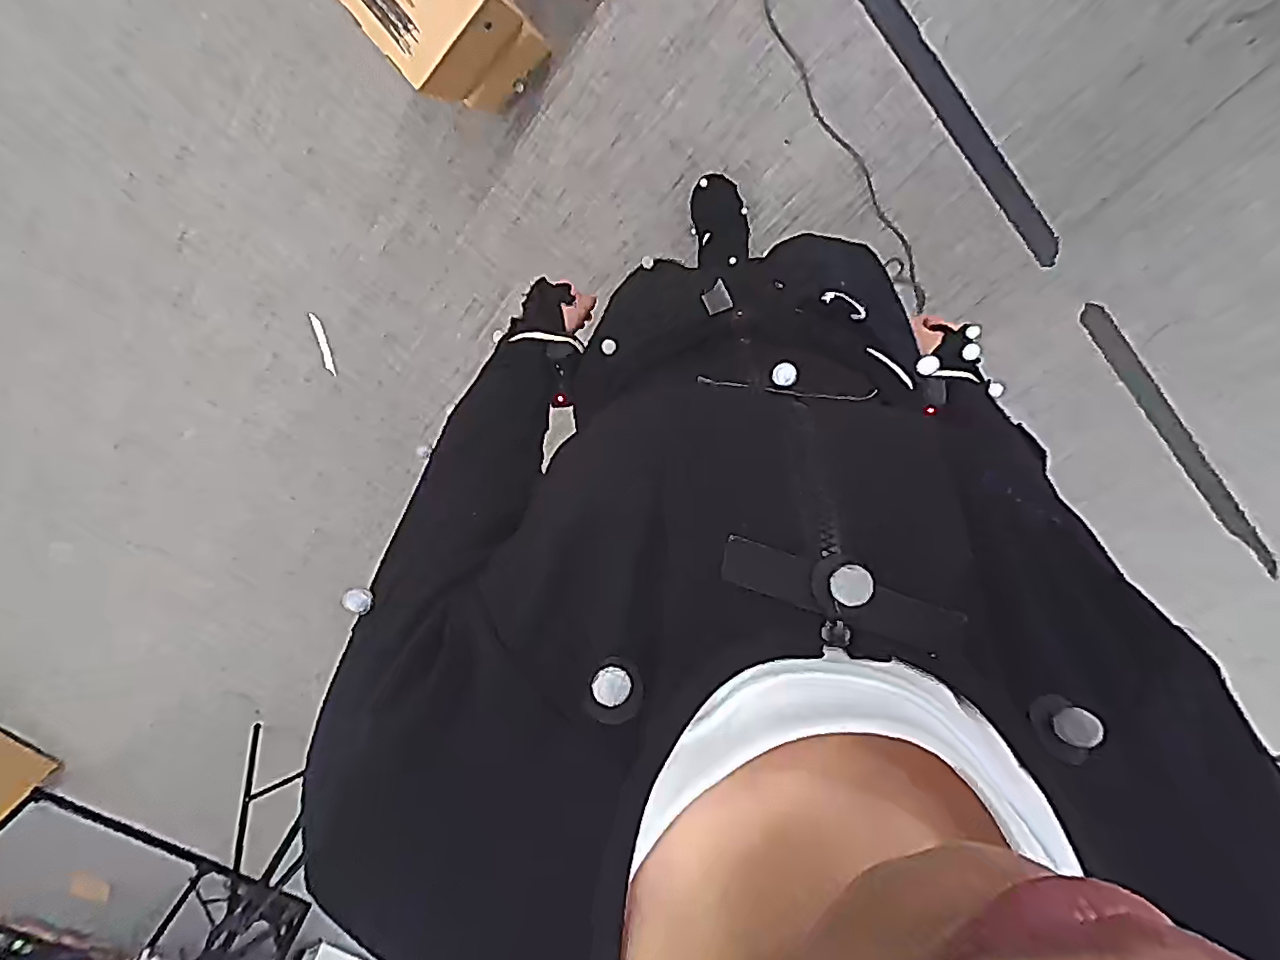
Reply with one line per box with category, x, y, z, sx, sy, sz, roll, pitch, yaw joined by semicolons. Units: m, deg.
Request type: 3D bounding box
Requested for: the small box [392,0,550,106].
small box;-0.287;-0.799;0.953;0.168;0.176;0.179;-35;113;22
